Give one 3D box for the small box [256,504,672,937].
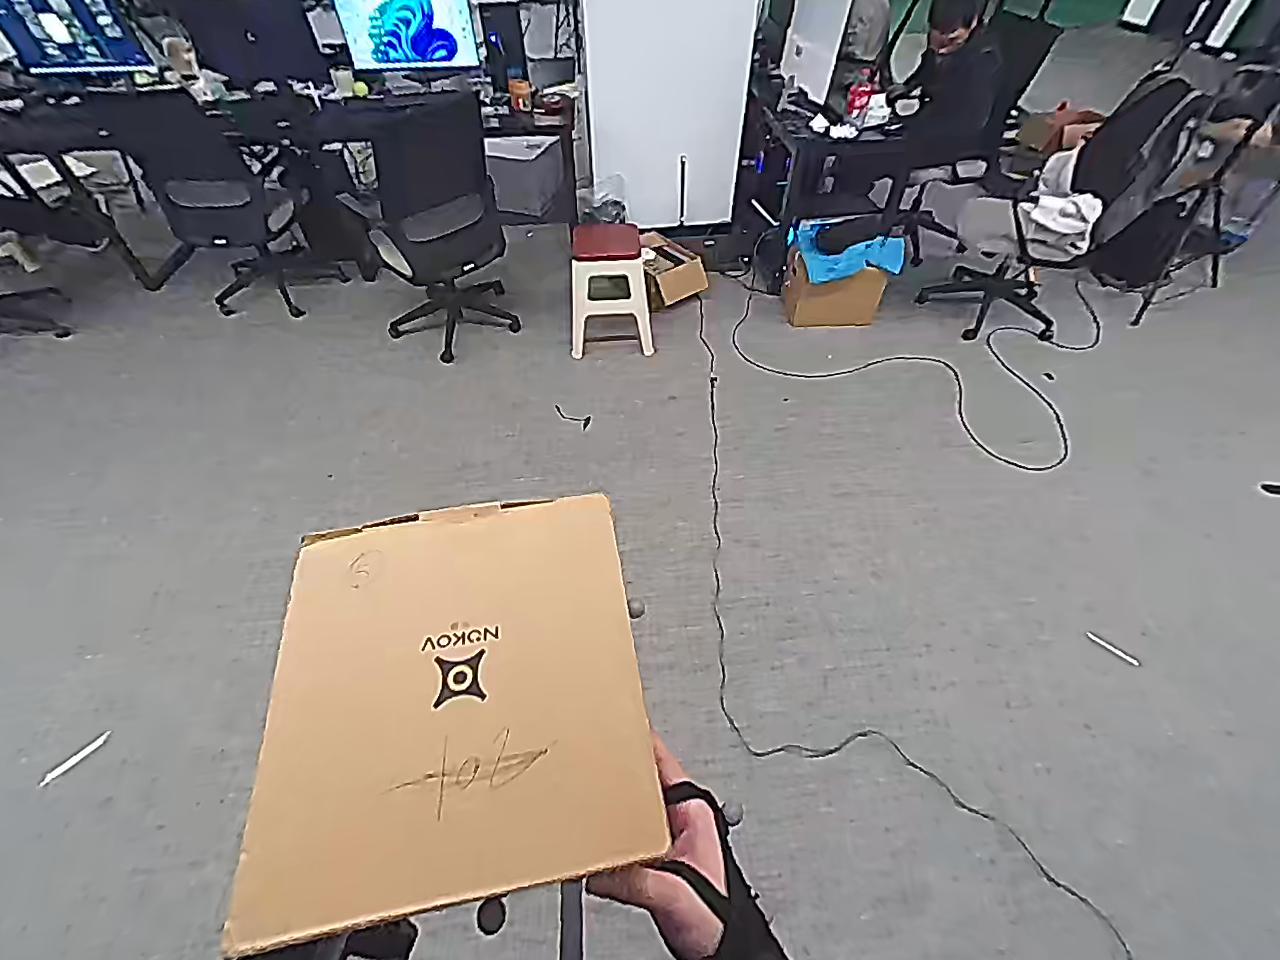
[{"bbox_3d":[-0.084,0.140,0.327,0.168,0.176,0.179,-9,56,-8],"label":"small box"}]
